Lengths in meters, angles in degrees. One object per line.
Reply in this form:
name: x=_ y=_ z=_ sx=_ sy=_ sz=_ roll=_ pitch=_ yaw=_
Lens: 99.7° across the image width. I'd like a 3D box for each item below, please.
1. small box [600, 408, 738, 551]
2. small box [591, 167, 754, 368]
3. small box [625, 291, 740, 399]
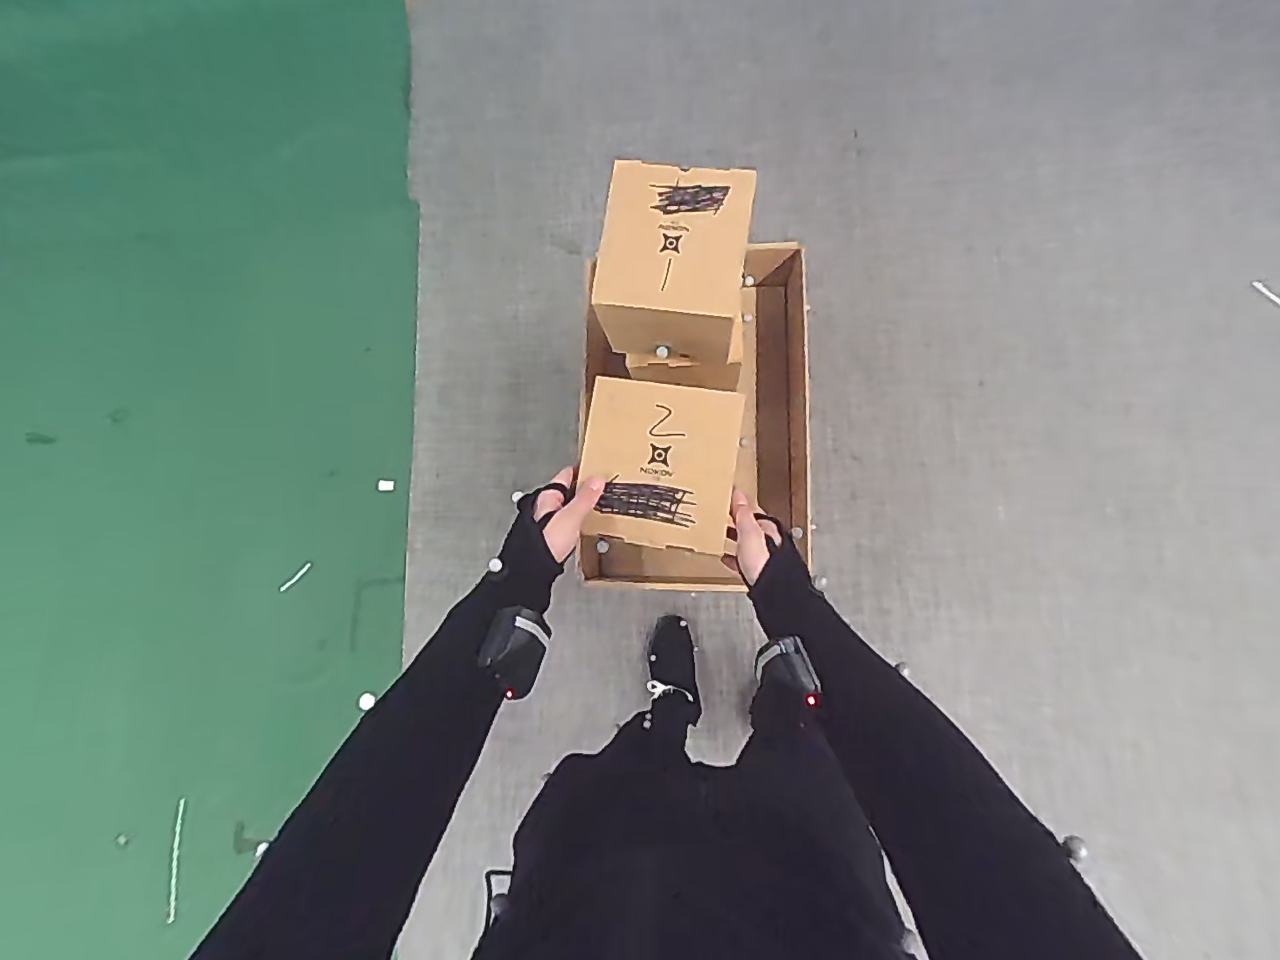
small box: x=0.049 y=0.009 z=0.819 sx=0.168 sy=0.176 sz=0.179 roll=11 pitch=82 yaw=8
small box: x=0.044 y=-0.261 z=0.694 sx=0.168 sy=0.176 sz=0.179 roll=9 pitch=85 yaw=7
small box: x=0.067 y=-0.237 z=0.854 sx=0.168 sy=0.176 sz=0.179 roll=-1 pitch=84 yaw=6
